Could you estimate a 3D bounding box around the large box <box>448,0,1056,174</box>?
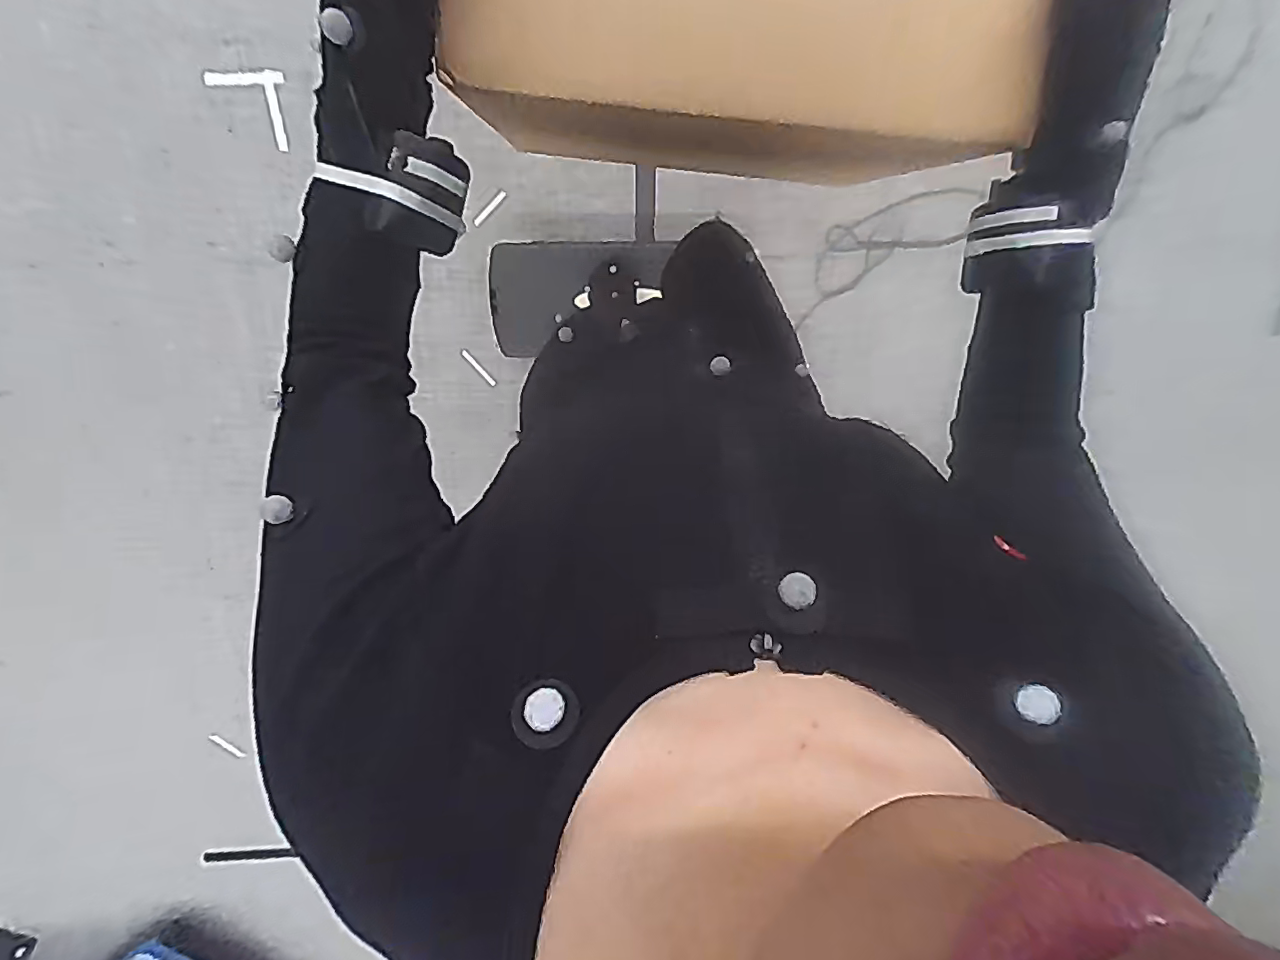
[{"bbox_3d":[0.072,-0.455,0.445,0.408,0.320,0.320,2,115,-5],"label":"large box"}]
